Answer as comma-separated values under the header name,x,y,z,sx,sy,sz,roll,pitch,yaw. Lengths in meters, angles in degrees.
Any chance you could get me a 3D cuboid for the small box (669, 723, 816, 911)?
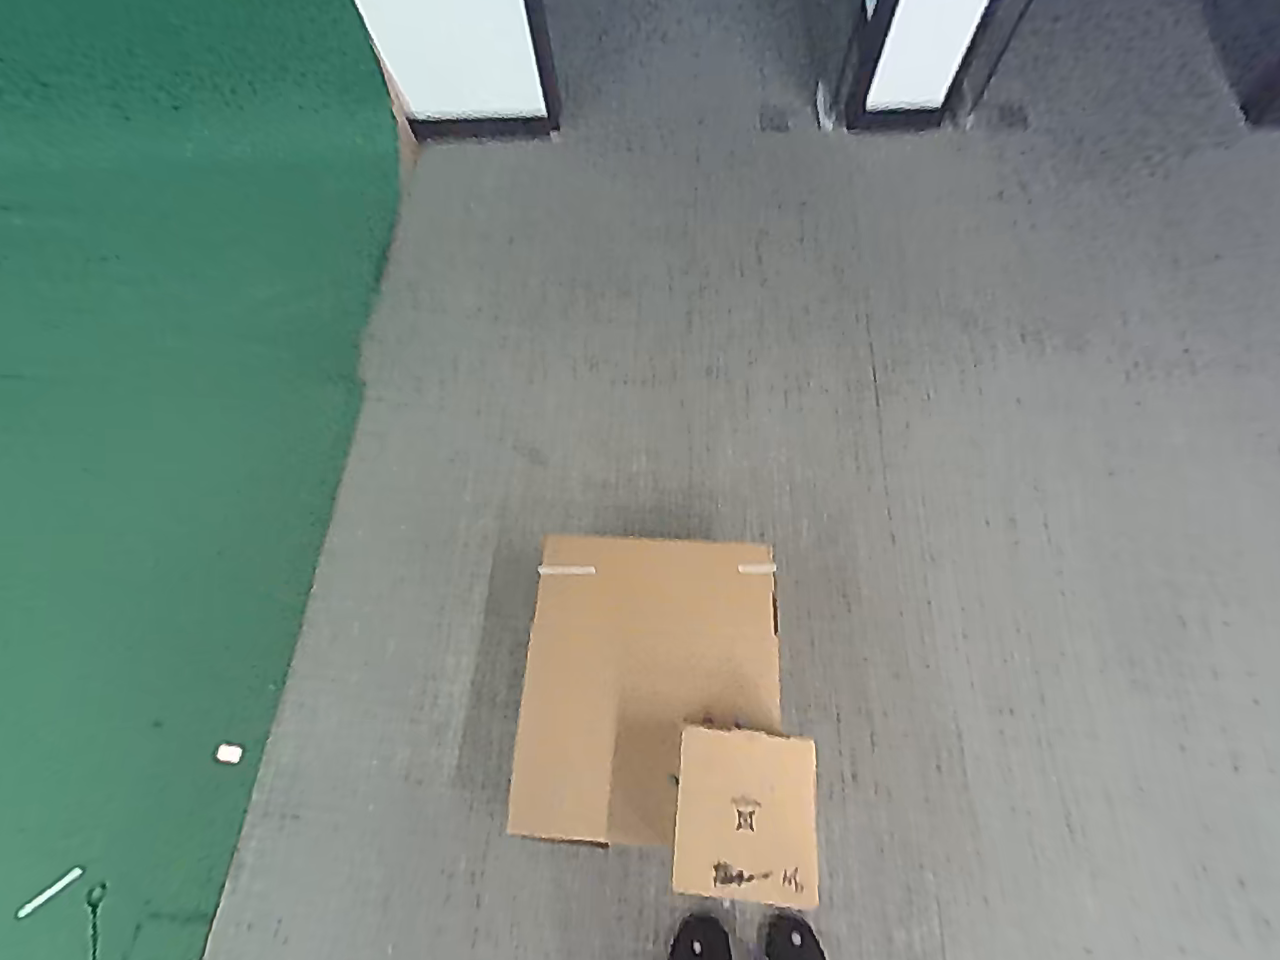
name,x,y,z,sx,sy,sz,roll,pitch,yaw
small box,0.128,0.426,0.714,0.168,0.176,0.179,5,67,5
